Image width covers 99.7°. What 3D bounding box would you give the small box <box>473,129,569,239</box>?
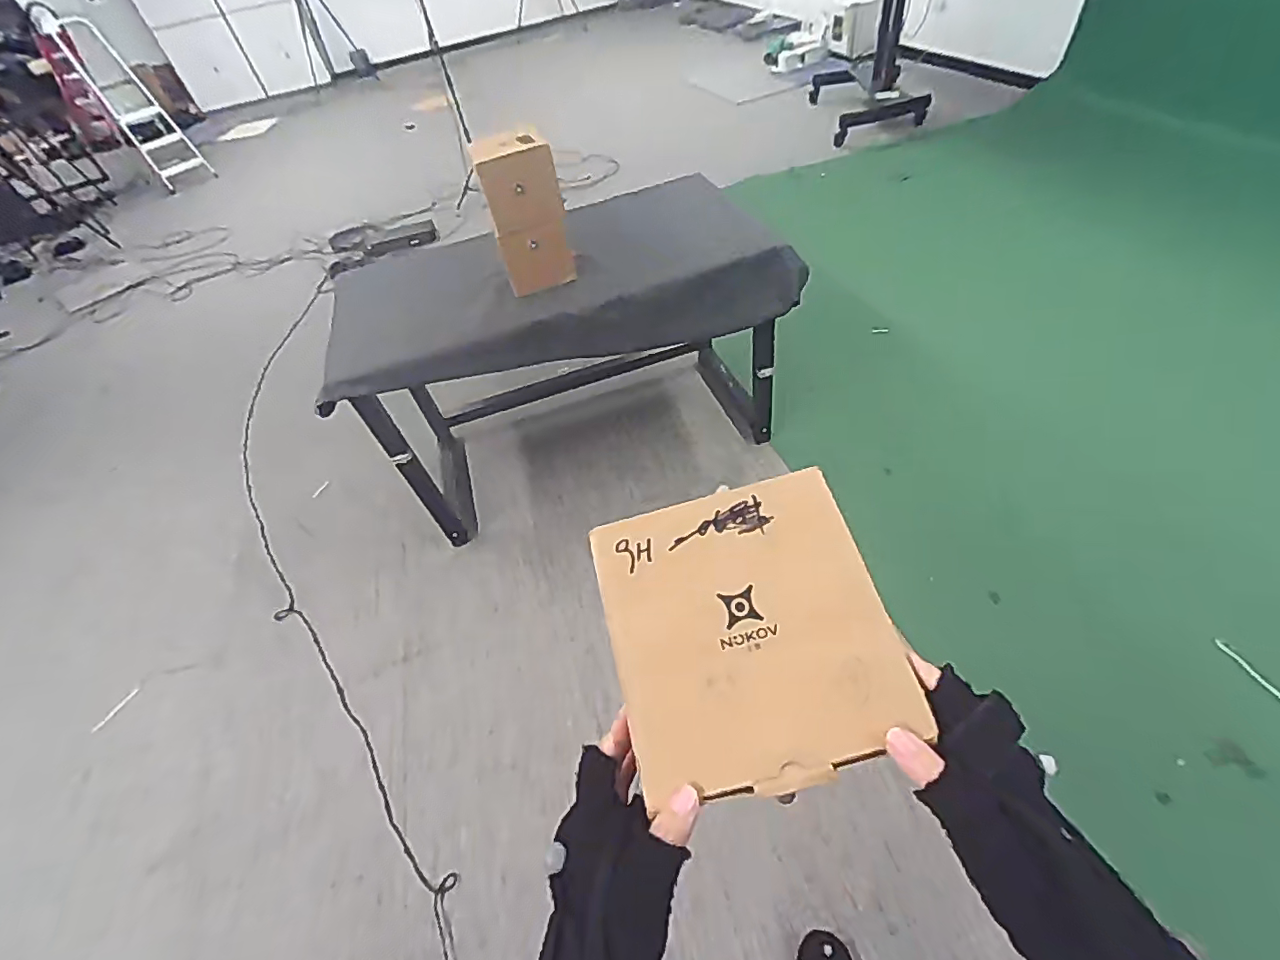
[{"bbox_3d":[-0.281,-0.716,1.311,0.179,0.176,0.168,-21,49,-9],"label":"small box"}]

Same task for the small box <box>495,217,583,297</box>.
[{"bbox_3d":[-0.266,-0.610,1.436,0.179,0.176,0.168,-18,49,-7],"label":"small box"}]

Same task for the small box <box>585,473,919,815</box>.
[{"bbox_3d":[0.070,0.123,0.406,0.168,0.176,0.179,-16,63,1],"label":"small box"}]
